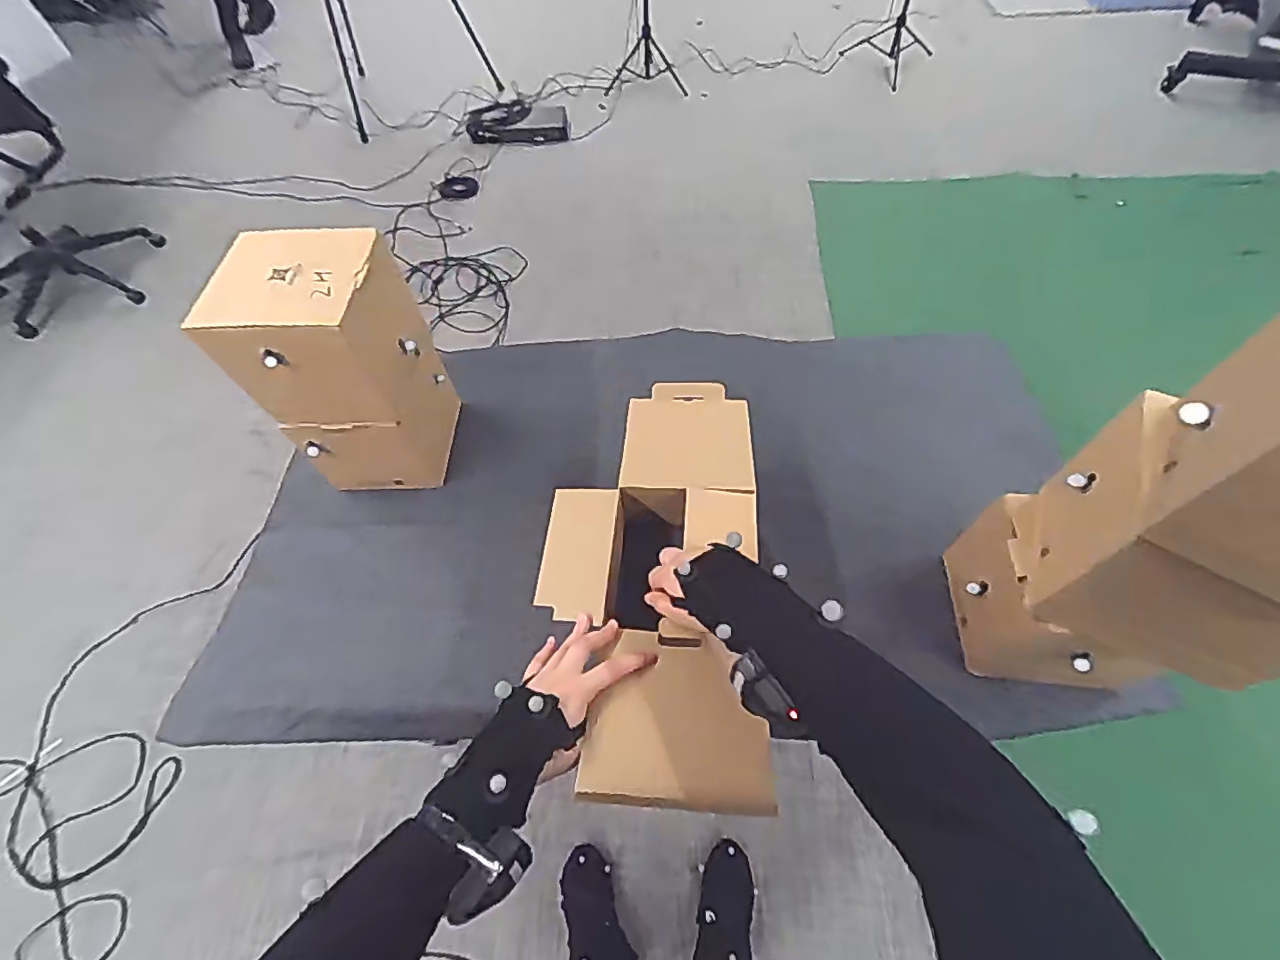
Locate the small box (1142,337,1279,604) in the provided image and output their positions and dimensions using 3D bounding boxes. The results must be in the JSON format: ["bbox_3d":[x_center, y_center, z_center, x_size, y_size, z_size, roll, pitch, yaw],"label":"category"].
[{"bbox_3d":[0.481,-0.011,0.334,0.179,0.176,0.168,32,63,22],"label":"small box"}]

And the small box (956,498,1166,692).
[{"bbox_3d":[0.495,0.137,0.629,0.179,0.176,0.168,4,56,6],"label":"small box"}]

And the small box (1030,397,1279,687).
[{"bbox_3d":[0.491,0.061,0.484,0.179,0.176,0.168,23,60,16],"label":"small box"}]

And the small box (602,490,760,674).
[{"bbox_3d":[0.054,0.130,0.661,0.168,0.176,0.179,1,58,5],"label":"small box"}]

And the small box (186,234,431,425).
[{"bbox_3d":[-0.392,-0.181,0.678,0.179,0.176,0.168,0,60,2],"label":"small box"}]
